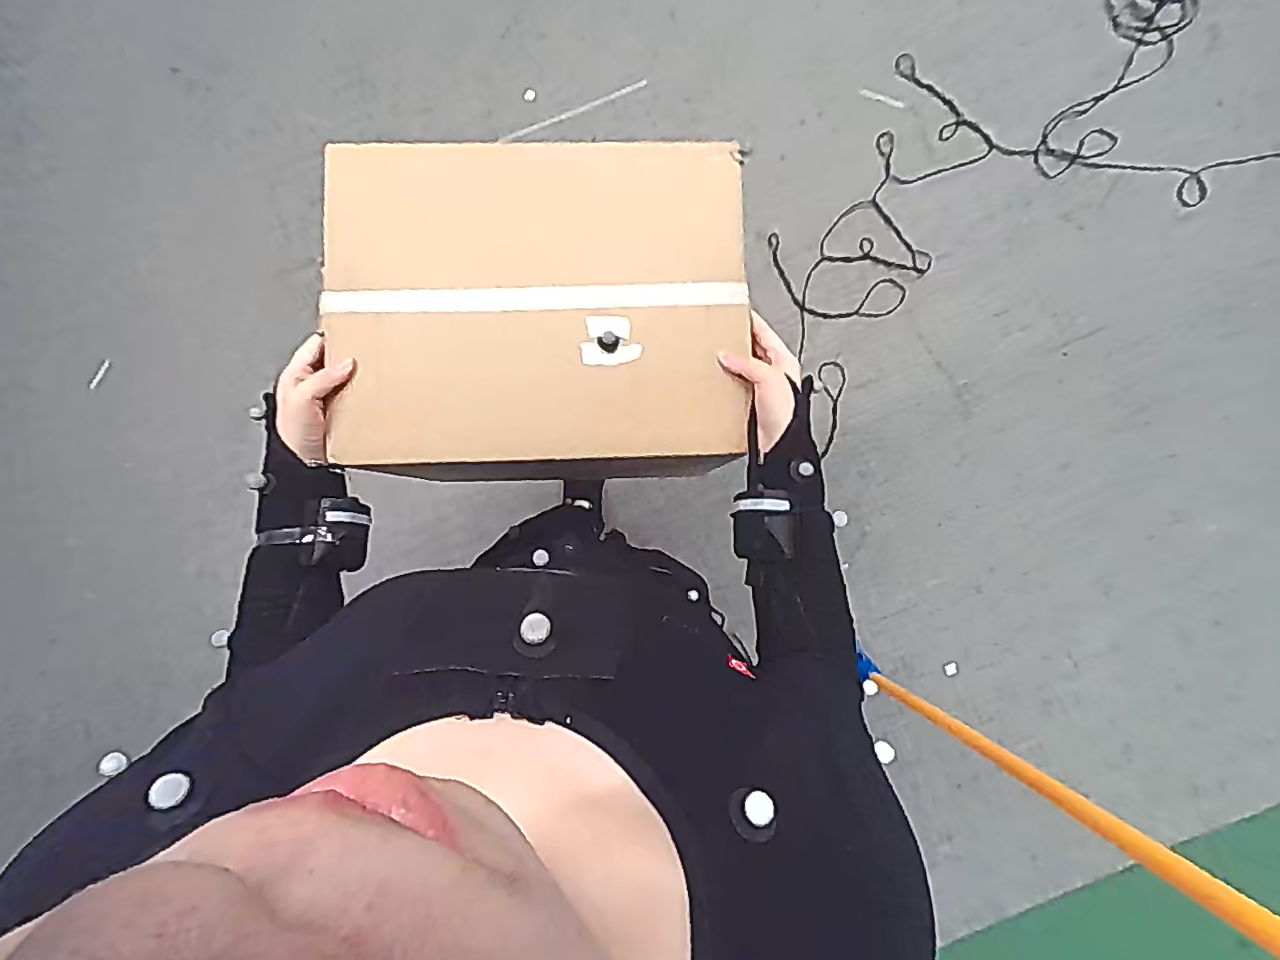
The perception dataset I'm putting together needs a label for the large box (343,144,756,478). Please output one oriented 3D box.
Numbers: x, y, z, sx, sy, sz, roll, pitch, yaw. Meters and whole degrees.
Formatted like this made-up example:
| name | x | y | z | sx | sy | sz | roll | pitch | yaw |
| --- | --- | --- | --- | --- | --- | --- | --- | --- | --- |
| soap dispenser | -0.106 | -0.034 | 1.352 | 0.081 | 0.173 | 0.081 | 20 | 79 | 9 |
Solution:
| name | x | y | z | sx | sy | sz | roll | pitch | yaw |
| --- | --- | --- | --- | --- | --- | --- | --- | --- | --- |
| large box | -0.098 | -0.173 | 0.680 | 0.408 | 0.320 | 0.320 | -1 | 87 | -3 |
